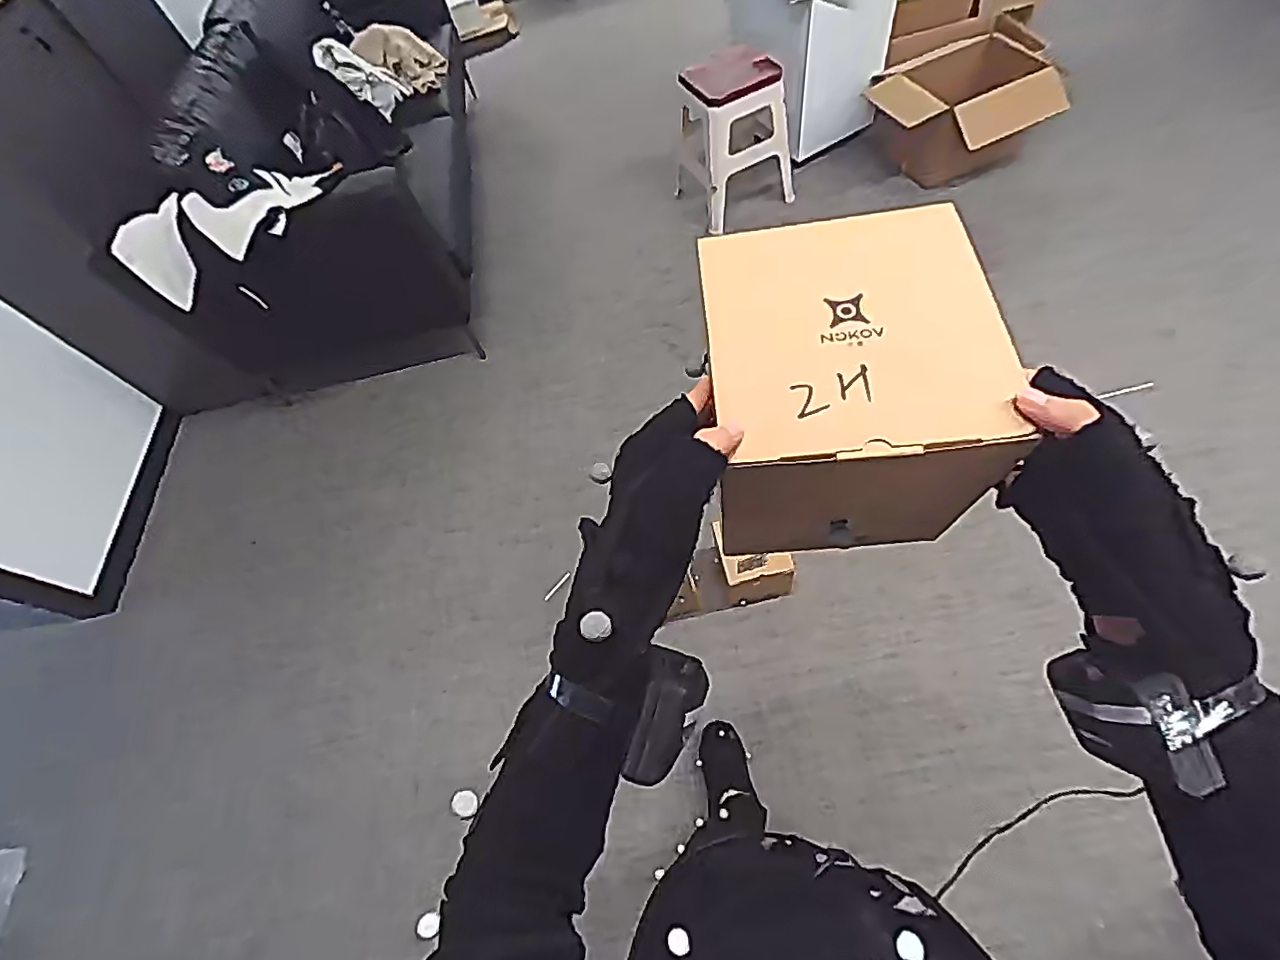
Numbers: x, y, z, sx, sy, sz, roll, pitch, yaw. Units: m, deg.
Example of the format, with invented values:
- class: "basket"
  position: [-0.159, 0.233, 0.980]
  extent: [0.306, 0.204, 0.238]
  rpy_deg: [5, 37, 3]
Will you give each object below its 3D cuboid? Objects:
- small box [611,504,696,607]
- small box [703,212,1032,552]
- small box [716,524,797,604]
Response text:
- class: "small box"
  position: [0.034, 0.184, 1.293]
  extent: [0.168, 0.176, 0.179]
  rpy_deg: [-13, 57, 4]
- class: "small box"
  position: [0.136, -0.059, 0.400]
  extent: [0.168, 0.176, 0.179]
  rpy_deg: [-5, 64, 8]
- class: "small box"
  position: [0.302, 0.212, 1.412]
  extent: [0.168, 0.176, 0.179]
  rpy_deg: [-13, 57, 3]
